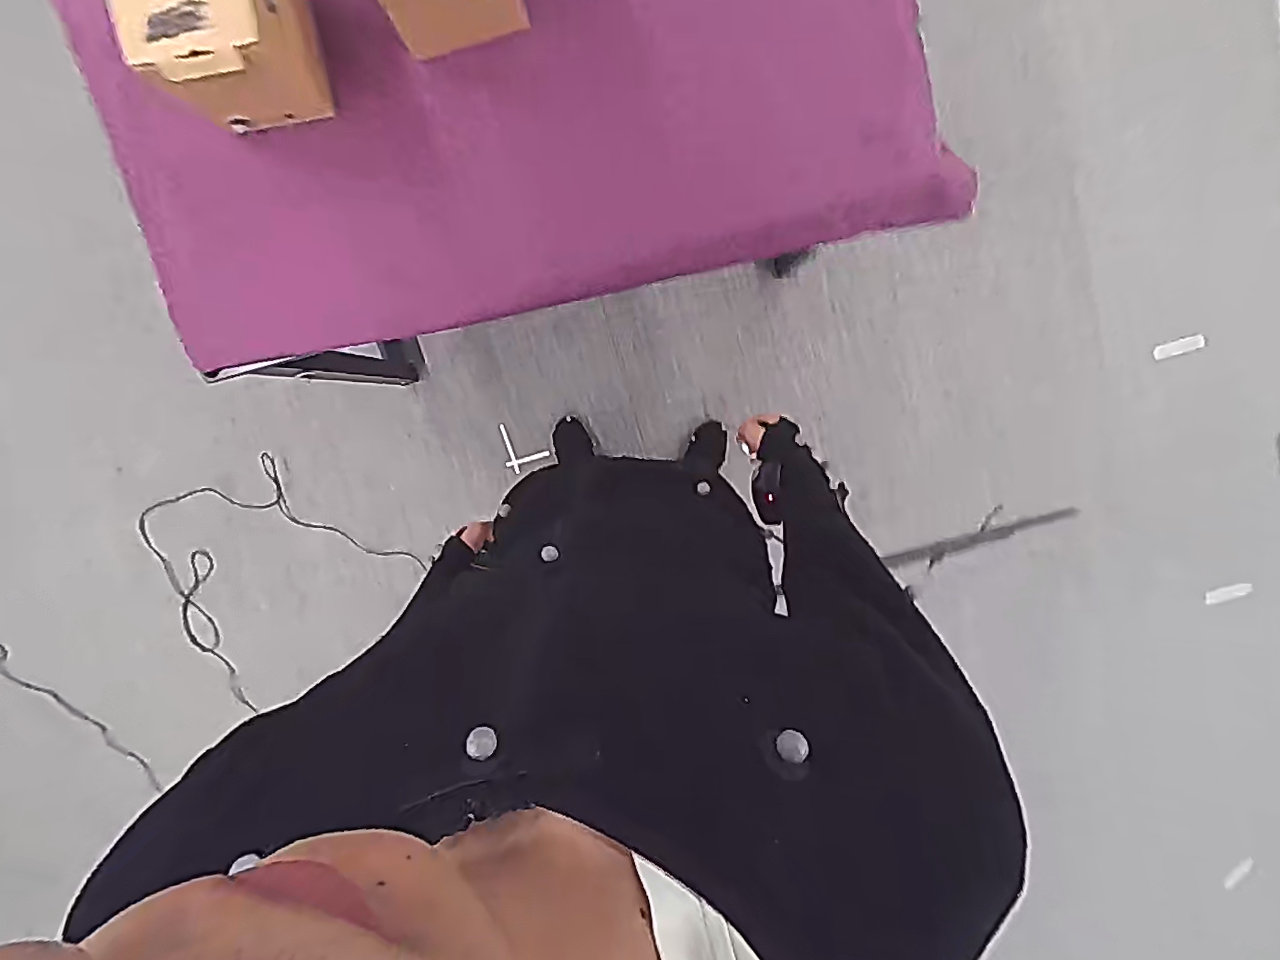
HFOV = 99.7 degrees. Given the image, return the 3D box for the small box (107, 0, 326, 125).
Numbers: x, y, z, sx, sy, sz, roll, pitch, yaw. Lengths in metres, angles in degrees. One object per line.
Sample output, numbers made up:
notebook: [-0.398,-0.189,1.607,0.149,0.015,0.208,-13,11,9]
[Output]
small box: [-0.553,-0.604,0.717,0.168,0.176,0.179,-10,98,0]
